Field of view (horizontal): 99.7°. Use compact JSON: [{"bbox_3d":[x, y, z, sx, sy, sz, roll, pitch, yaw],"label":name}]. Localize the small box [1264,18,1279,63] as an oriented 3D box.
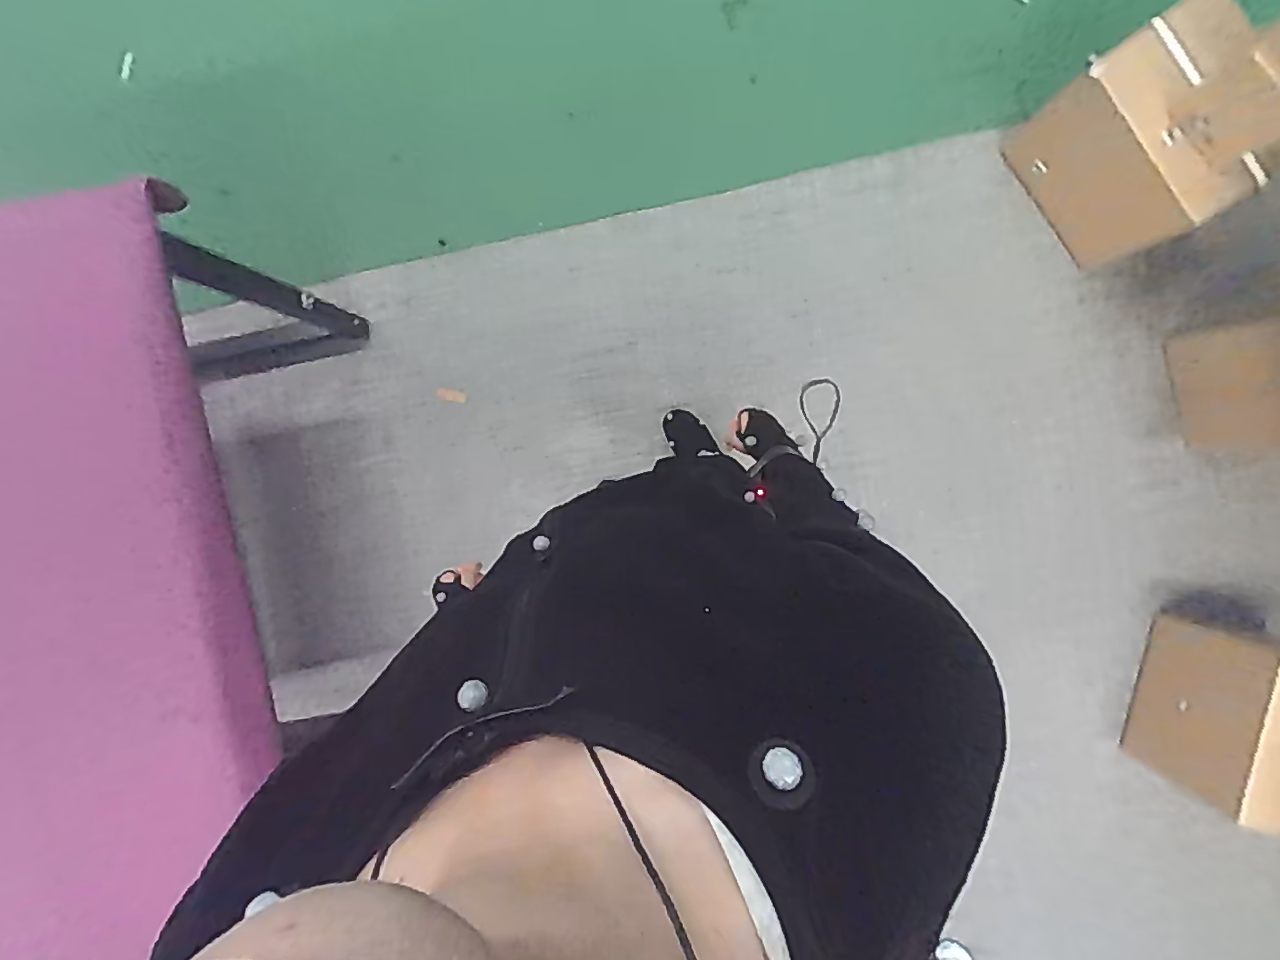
[{"bbox_3d":[1.204,-0.773,0.869,0.179,0.176,0.168,-40,90,3],"label":"small box"}]
